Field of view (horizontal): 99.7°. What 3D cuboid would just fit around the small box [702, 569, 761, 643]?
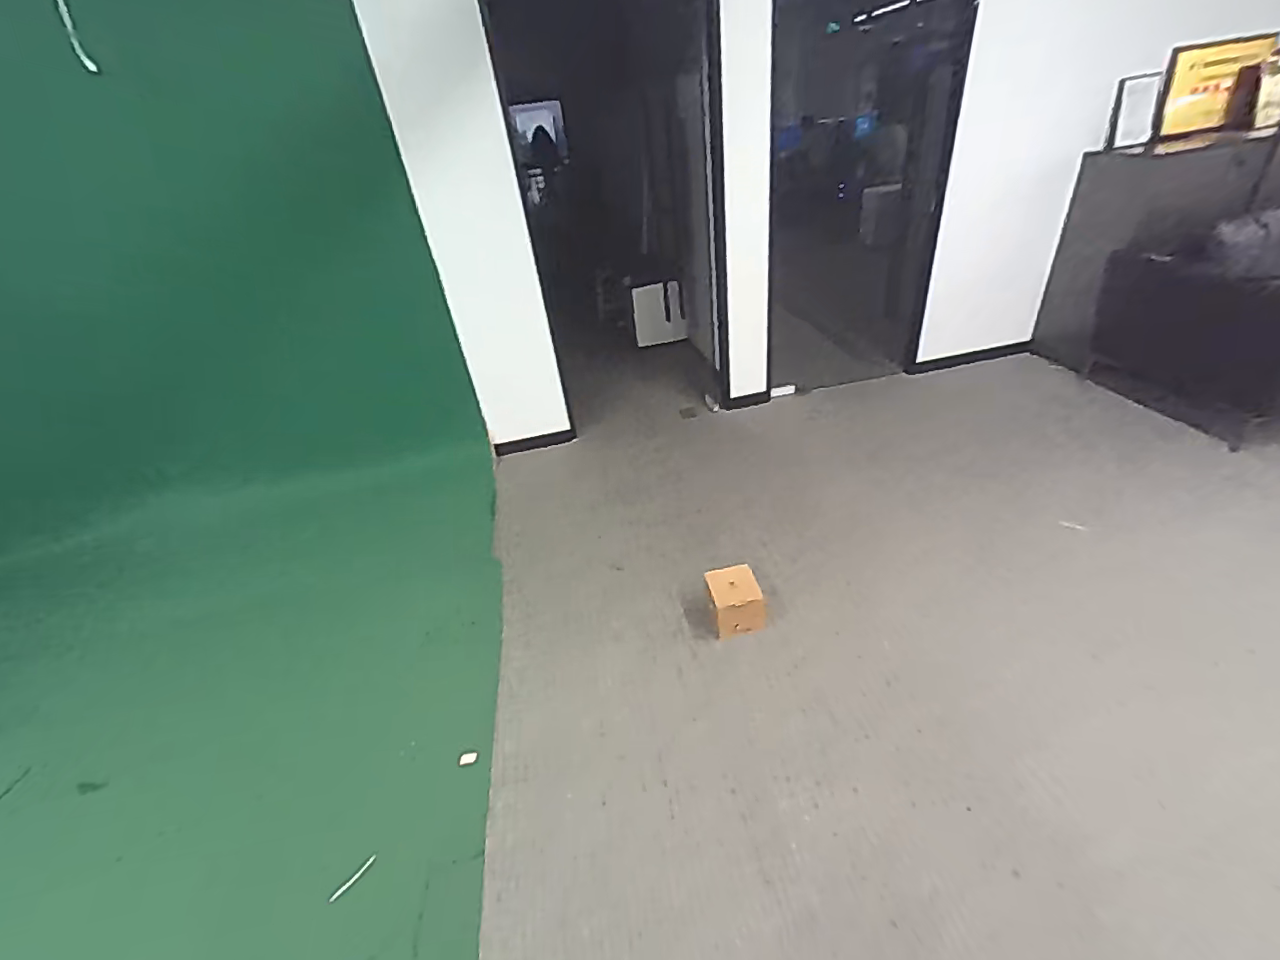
[{"bbox_3d":[0.322,0.449,1.930,0.168,0.176,0.179,-10,34,-5],"label":"small box"}]
